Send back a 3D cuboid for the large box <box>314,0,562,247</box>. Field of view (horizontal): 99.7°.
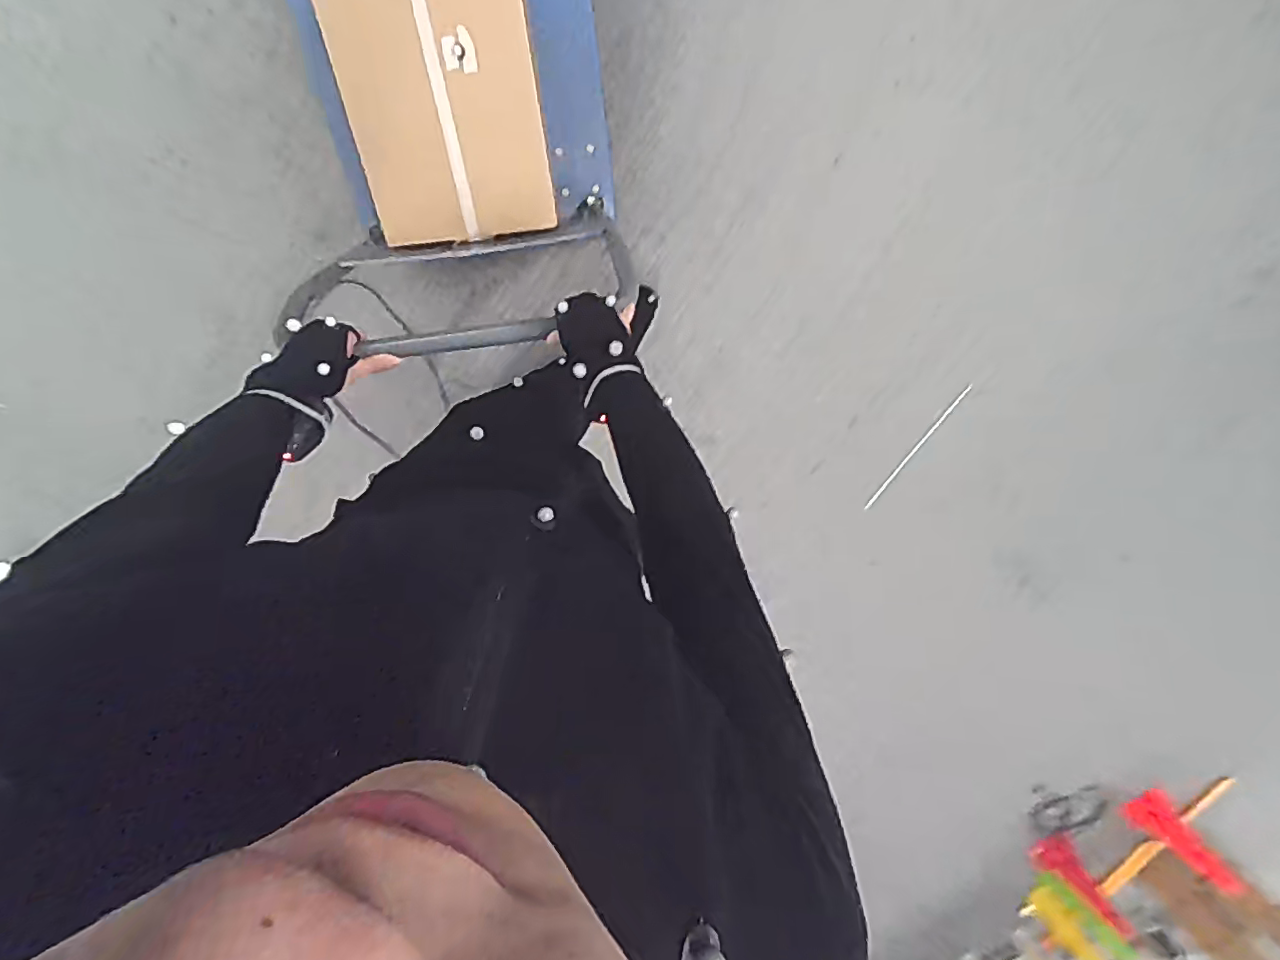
[{"bbox_3d":[-0.336,-0.688,1.019,0.320,0.320,0.408,-9,120,-3],"label":"large box"}]
